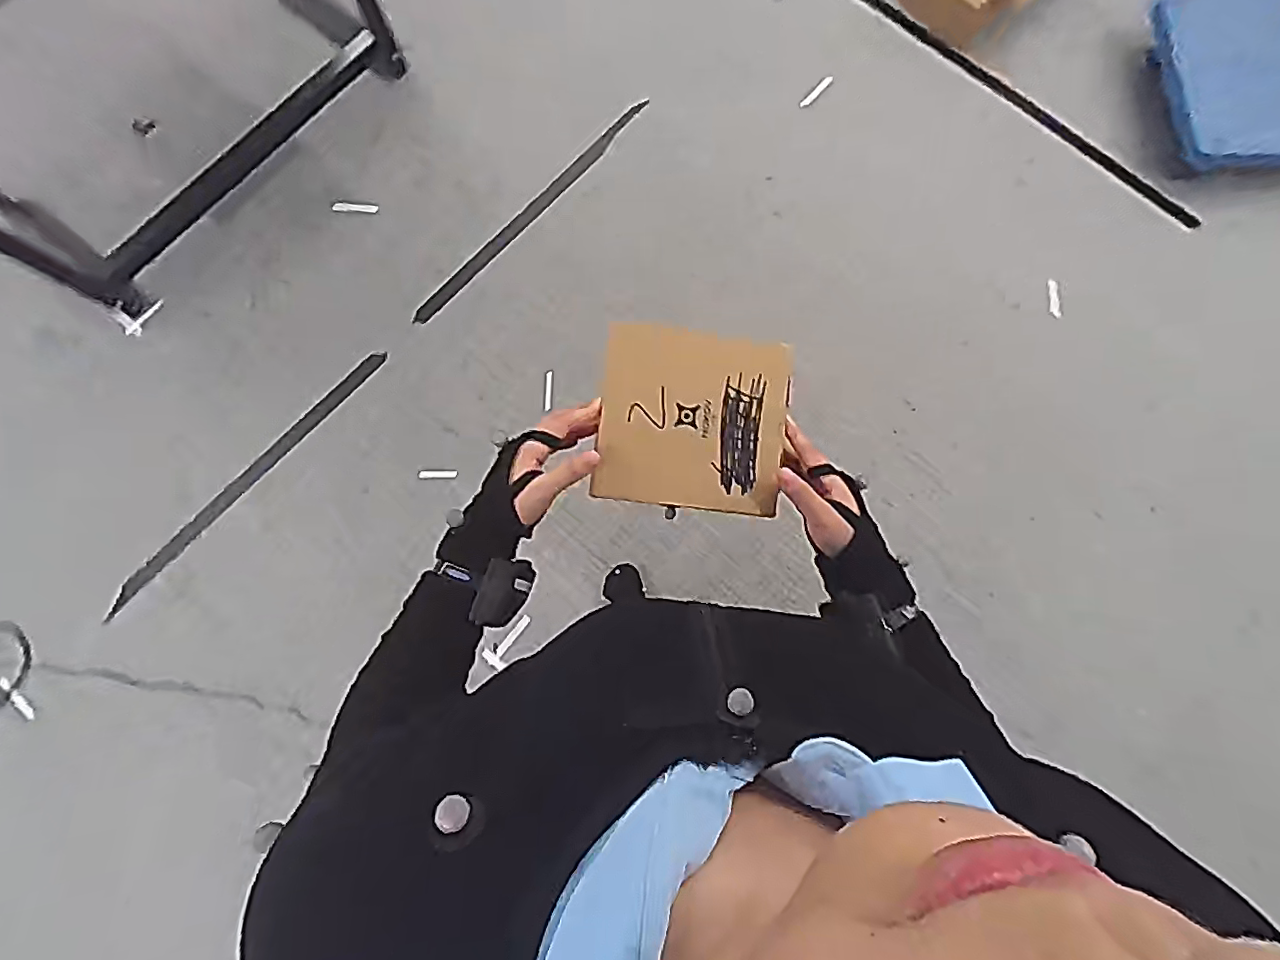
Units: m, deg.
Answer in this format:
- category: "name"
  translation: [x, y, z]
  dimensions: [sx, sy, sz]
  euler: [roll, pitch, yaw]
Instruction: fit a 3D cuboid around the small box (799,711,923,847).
- category: "small box"
  translation: [0.475, 0.648, 1.196]
  dimensions: [0.168, 0.176, 0.179]
  euler: [35, 80, 6]
